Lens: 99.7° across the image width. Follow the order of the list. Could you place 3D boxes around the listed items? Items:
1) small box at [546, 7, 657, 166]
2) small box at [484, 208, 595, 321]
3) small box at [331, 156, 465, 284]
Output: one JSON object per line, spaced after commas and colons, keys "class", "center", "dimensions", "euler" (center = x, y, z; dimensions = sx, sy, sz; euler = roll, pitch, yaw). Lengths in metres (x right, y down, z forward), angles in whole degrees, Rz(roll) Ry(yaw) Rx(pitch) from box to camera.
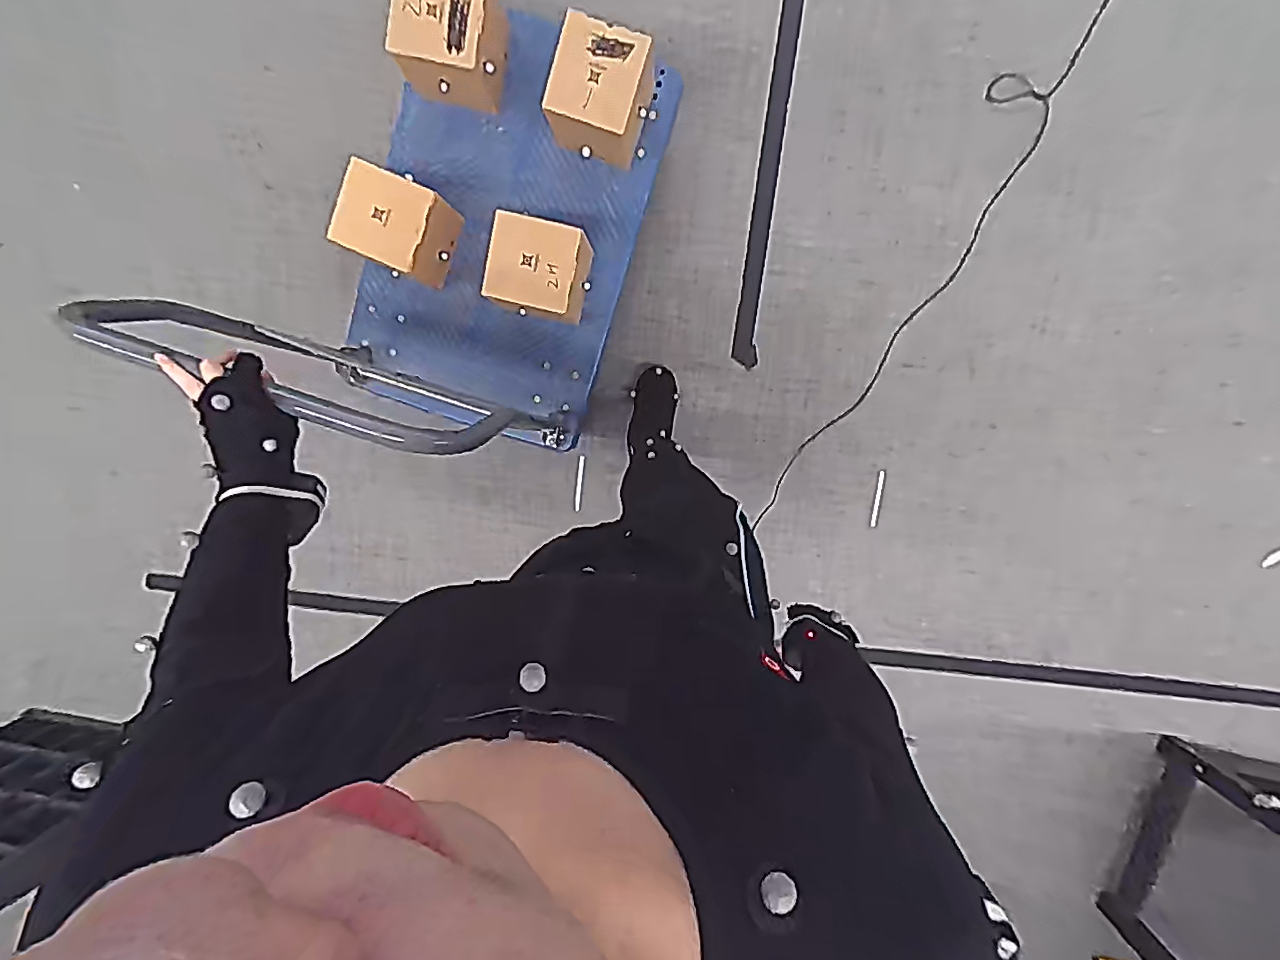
{"class": "small box", "center": [-0.071, -0.770, 1.078], "dimensions": [0.168, 0.176, 0.179], "euler": [19, 100, 0]}
{"class": "small box", "center": [-0.203, -0.440, 1.134], "dimensions": [0.179, 0.176, 0.168], "euler": [13, 99, 0]}
{"class": "small box", "center": [-0.497, -0.531, 1.133], "dimensions": [0.179, 0.176, 0.168], "euler": [23, 98, -3]}
